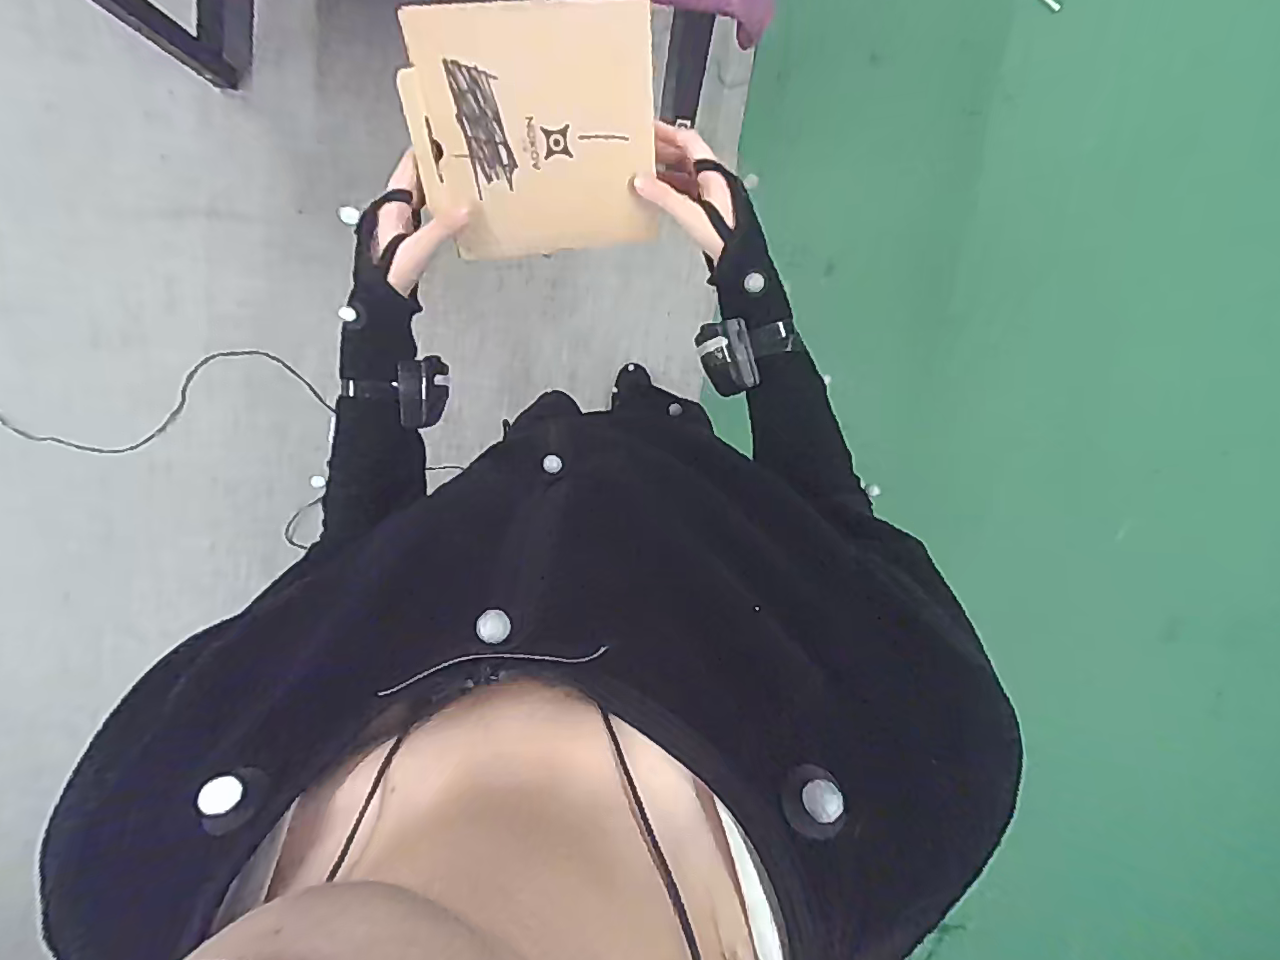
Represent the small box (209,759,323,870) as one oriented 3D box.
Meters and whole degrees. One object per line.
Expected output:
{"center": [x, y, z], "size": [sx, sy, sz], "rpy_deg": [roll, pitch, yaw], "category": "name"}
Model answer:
{"center": [-0.934, 0.840, 1.368], "size": [0.168, 0.176, 0.179], "rpy_deg": [-3, 100, 0], "category": "small box"}
